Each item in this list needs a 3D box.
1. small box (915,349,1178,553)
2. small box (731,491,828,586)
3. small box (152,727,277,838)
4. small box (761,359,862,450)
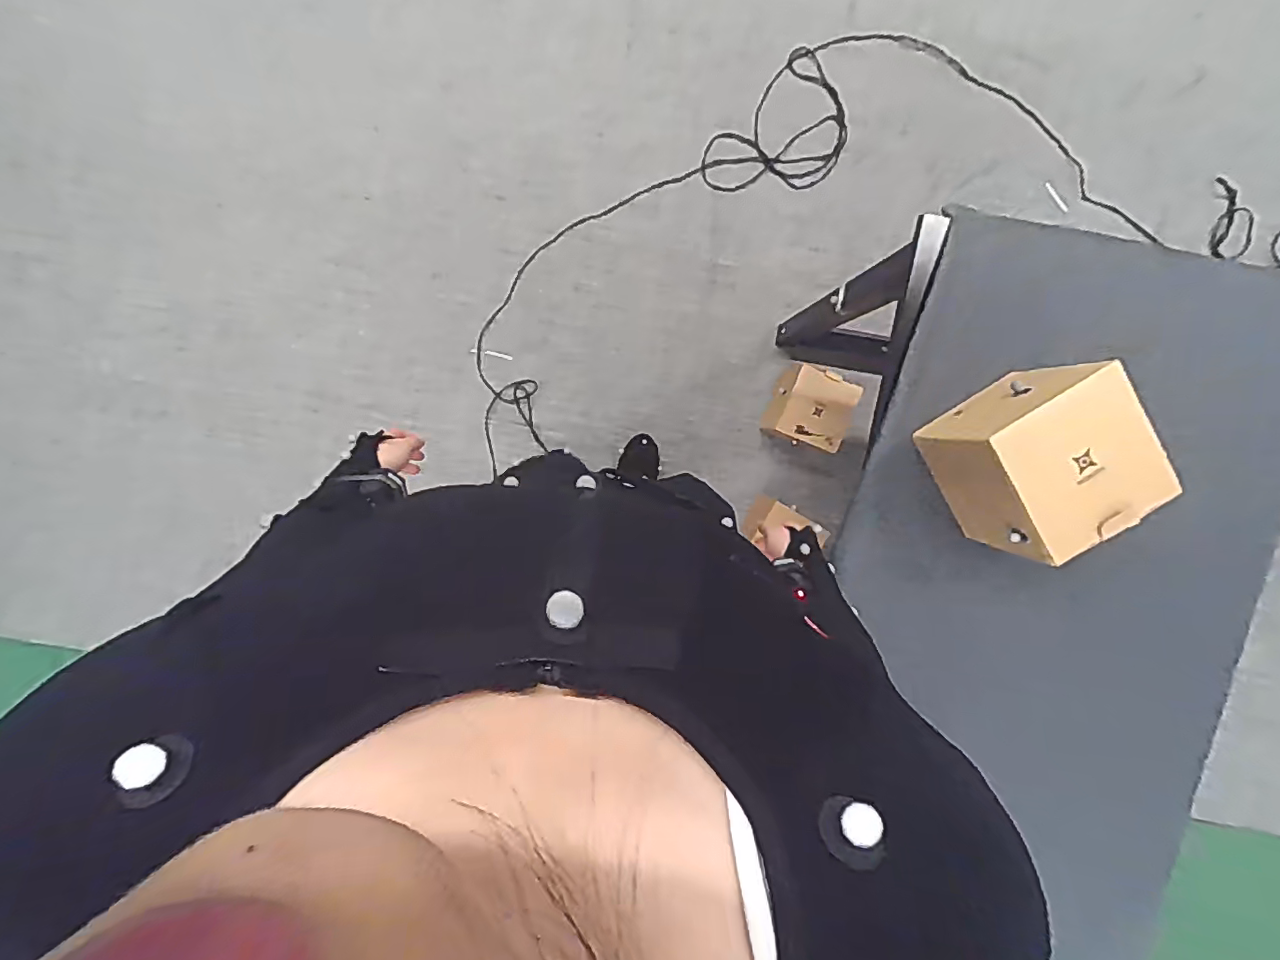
[{"bbox_3d":[0.488,-0.037,0.679,0.168,0.176,0.179,-33,97,2],"label":"small box"},{"bbox_3d":[0.358,0.147,1.428,0.168,0.176,0.179,30,93,-5],"label":"small box"},{"bbox_3d":[-1.135,0.806,1.459,0.179,0.176,0.168,29,94,-4],"label":"small box"},{"bbox_3d":[0.431,-0.191,1.393,0.168,0.176,0.179,22,95,-4],"label":"small box"}]
